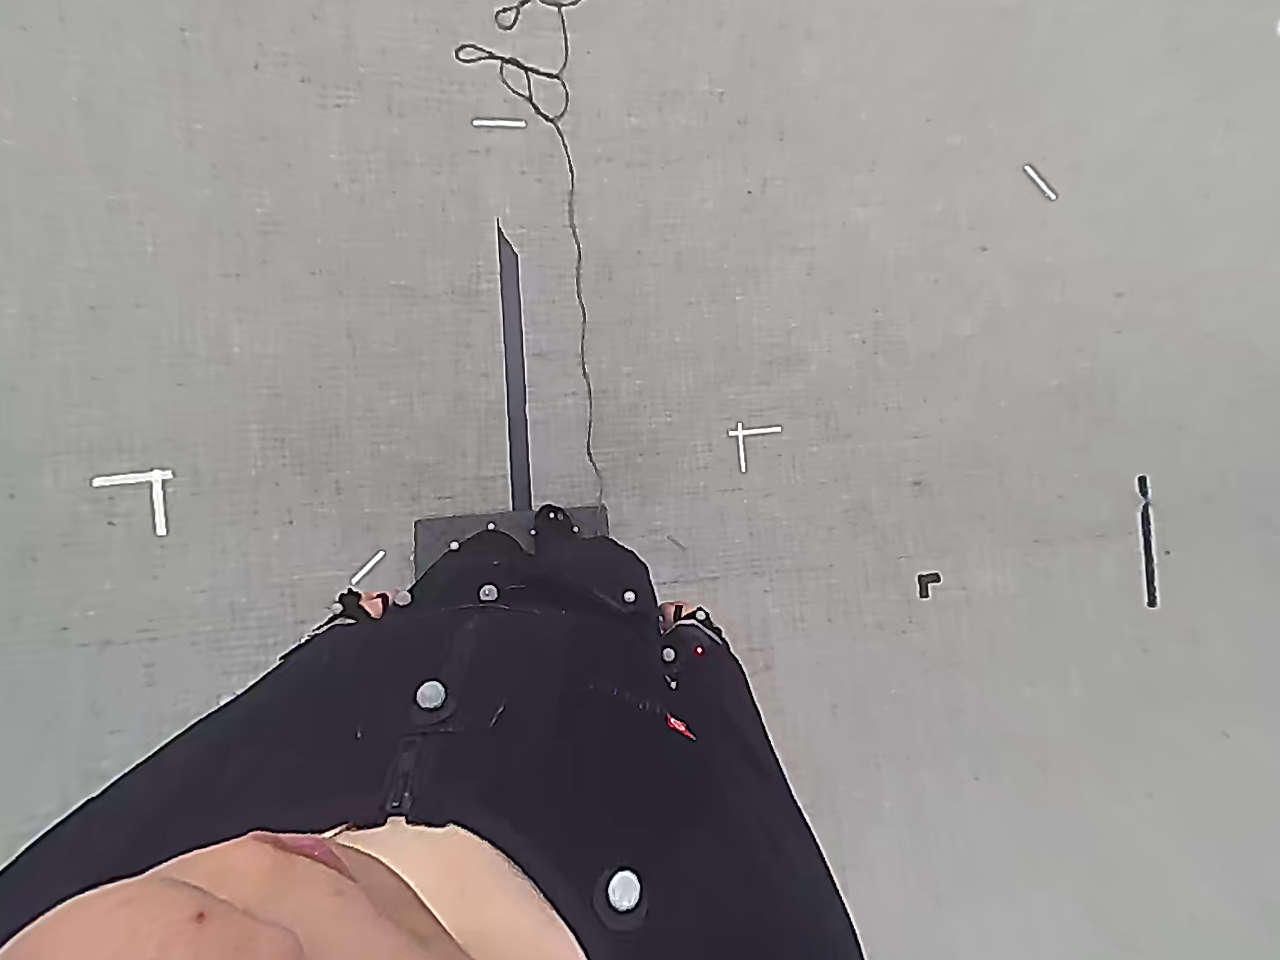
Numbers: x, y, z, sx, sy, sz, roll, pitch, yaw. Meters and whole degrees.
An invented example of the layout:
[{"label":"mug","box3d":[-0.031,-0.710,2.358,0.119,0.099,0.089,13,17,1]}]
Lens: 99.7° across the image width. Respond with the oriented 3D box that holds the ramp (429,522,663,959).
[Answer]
[{"label":"ramp","box3d":[-0.246,0.610,1.285,0.509,0.206,0.991,-6,86,-6]}]
